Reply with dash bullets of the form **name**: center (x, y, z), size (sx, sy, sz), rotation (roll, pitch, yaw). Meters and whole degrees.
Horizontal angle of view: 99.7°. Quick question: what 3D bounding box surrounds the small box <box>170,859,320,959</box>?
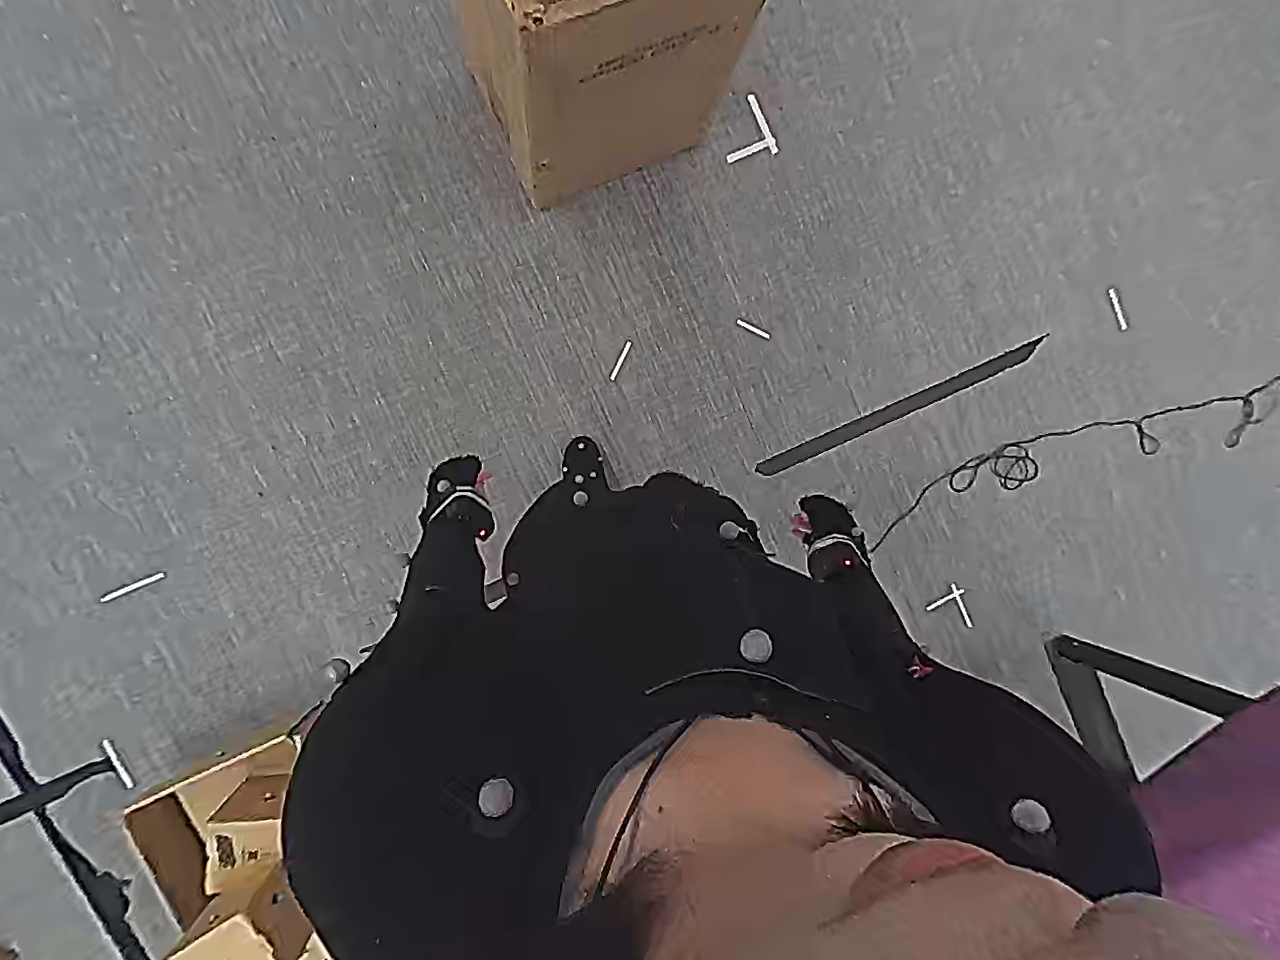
- **small box**: center (-0.809, 0.951, 1.129), size (0.179, 0.176, 0.168), rotation (-32, 94, -5)
